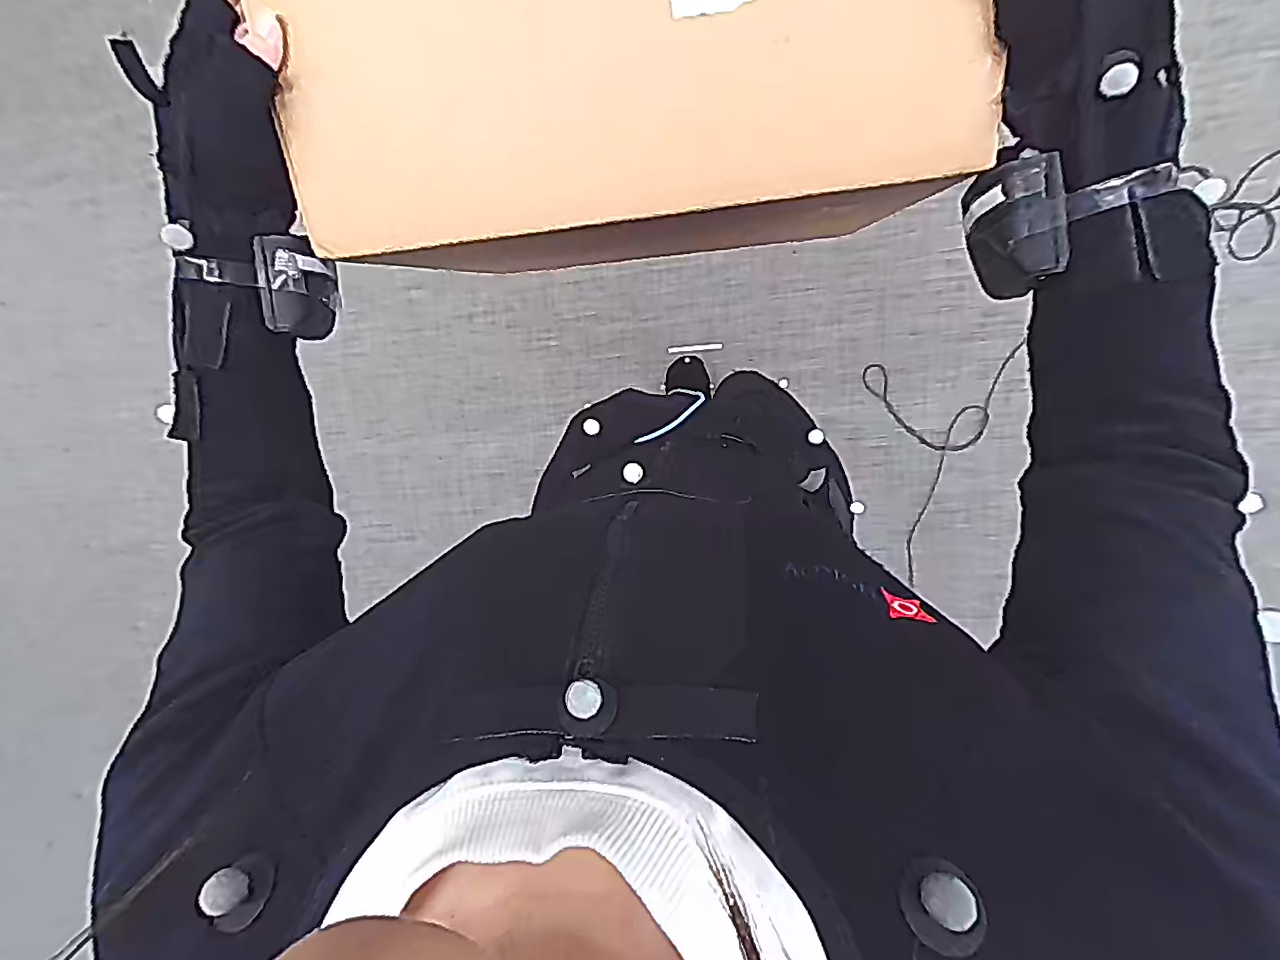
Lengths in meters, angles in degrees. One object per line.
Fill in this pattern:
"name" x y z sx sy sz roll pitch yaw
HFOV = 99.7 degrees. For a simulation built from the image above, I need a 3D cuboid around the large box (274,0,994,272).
"large box" -0.004 -0.358 0.424 0.408 0.320 0.320 -4 109 9
